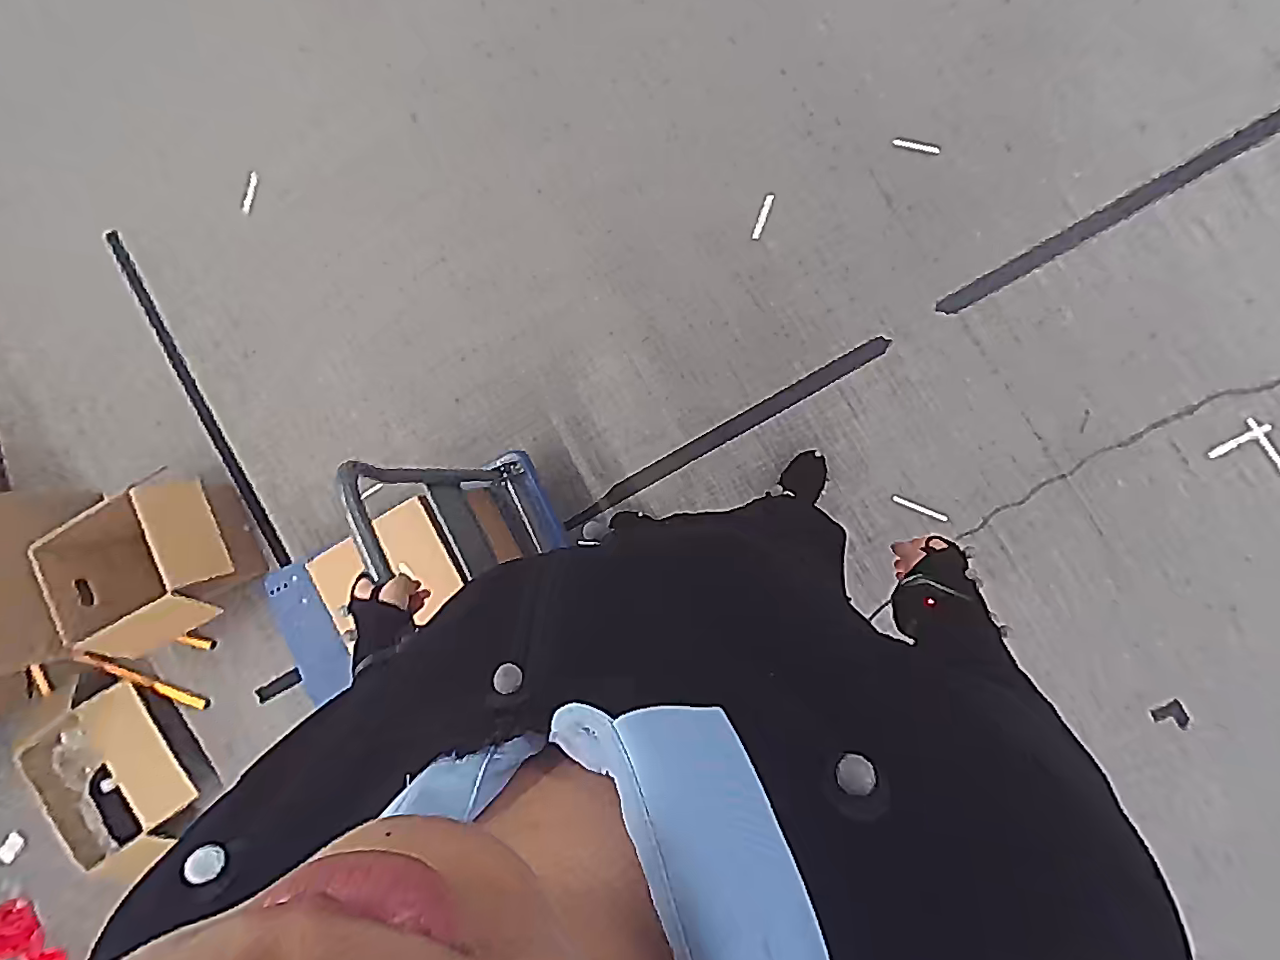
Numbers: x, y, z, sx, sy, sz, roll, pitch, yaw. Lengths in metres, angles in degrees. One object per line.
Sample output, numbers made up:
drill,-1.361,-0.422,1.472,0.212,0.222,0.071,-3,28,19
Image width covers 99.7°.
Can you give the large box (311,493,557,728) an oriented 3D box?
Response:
large box,-0.459,0.279,1.274,0.320,0.320,0.408,-30,86,9
